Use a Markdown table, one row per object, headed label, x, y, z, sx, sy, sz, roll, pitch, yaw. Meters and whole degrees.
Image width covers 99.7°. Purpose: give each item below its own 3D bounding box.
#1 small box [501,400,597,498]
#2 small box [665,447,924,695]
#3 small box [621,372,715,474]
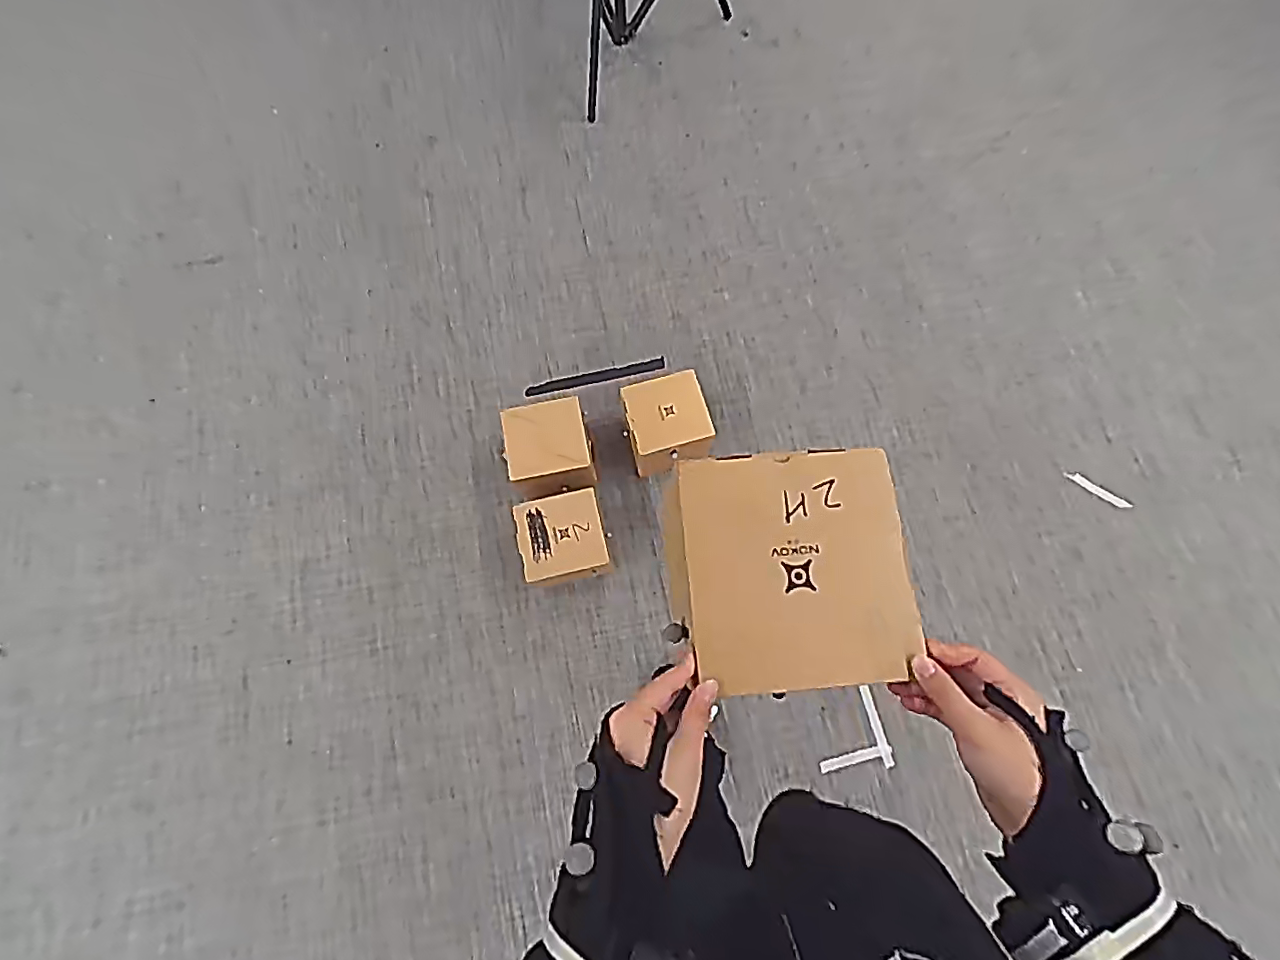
| label | x | y | z | sx | sy | sz | roll | pitch | yaw |
| --- | --- | --- | --- | --- | --- | --- | --- | --- | --- |
| small box | -0.204 | -0.070 | 1.242 | 0.179 | 0.176 | 0.168 | -11 | 75 | -3 |
| small box | 0.114 | 0.081 | 0.477 | 0.168 | 0.176 | 0.179 | -3 | 75 | -3 |
| small box | 0.059 | -0.127 | 1.264 | 0.179 | 0.176 | 0.168 | -16 | 76 | -4 |
